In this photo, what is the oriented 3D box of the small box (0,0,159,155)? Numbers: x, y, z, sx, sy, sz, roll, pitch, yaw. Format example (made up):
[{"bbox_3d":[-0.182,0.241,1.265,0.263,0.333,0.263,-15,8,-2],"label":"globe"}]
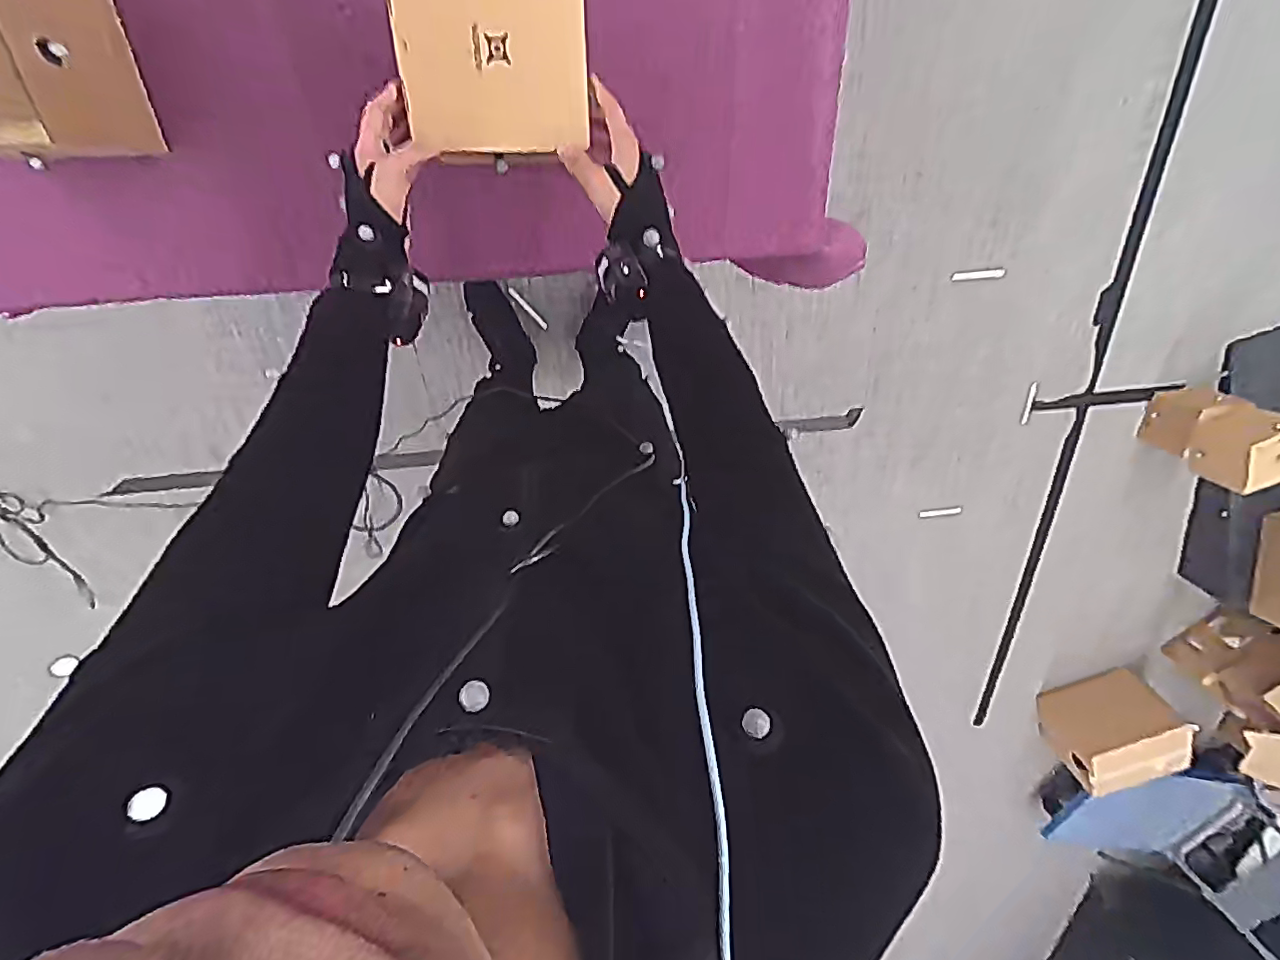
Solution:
[{"bbox_3d":[-0.629,-0.417,0.520,0.168,0.176,0.179,-4,118,-5],"label":"small box"}]

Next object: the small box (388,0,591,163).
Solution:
[{"bbox_3d":[-0.144,-0.435,0.569,0.179,0.176,0.168,-3,118,-4],"label":"small box"}]

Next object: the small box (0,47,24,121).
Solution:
[{"bbox_3d":[-0.617,-0.351,0.370,0.168,0.176,0.179,-7,118,-3],"label":"small box"}]
